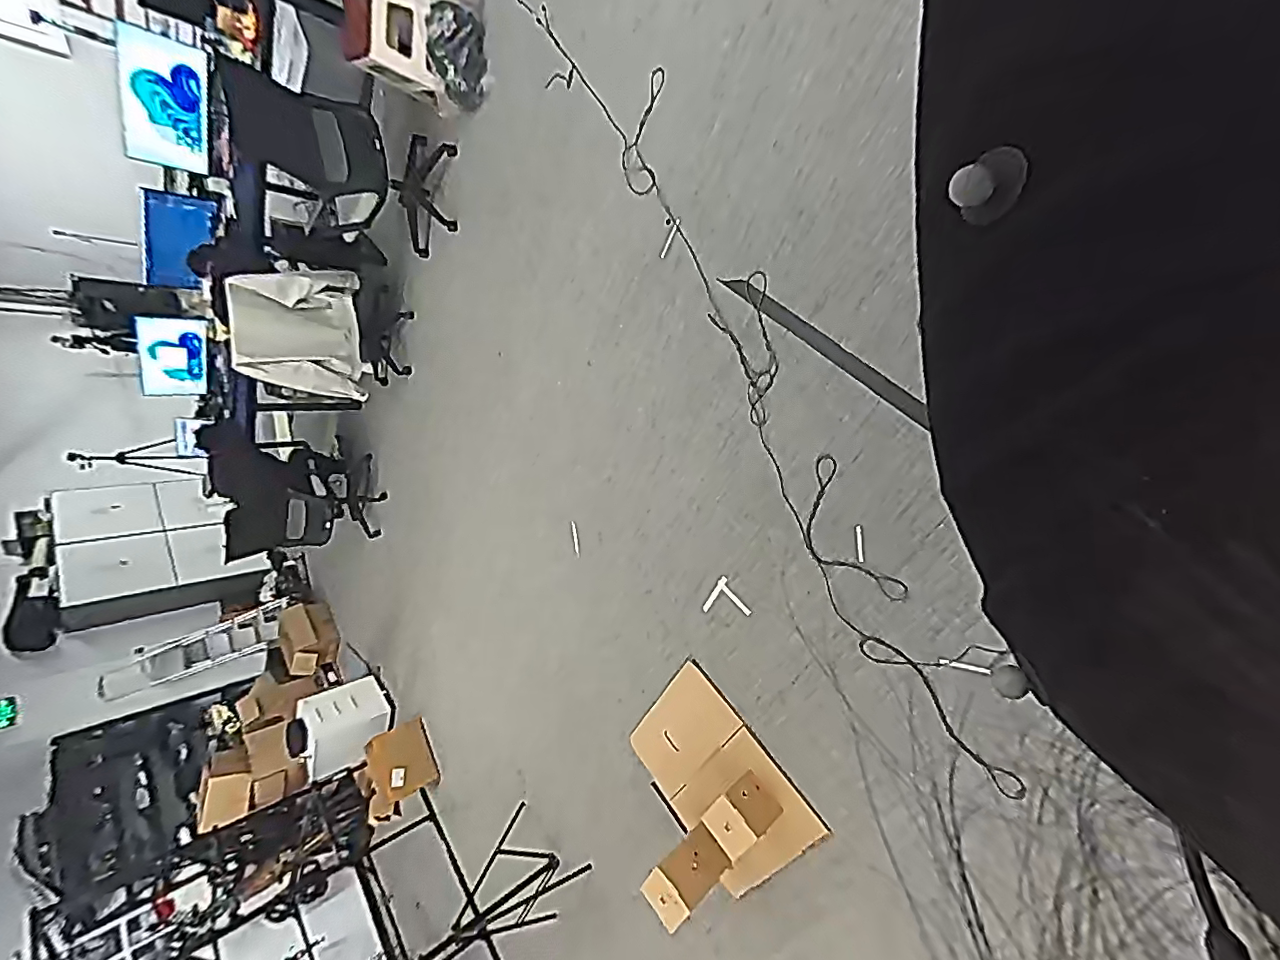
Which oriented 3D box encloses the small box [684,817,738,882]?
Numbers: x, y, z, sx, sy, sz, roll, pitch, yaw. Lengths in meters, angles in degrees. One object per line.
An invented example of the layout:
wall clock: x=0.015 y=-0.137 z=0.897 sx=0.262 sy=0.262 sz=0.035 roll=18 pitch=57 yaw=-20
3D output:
small box: x=0.252 y=1.363 z=1.992 sx=0.168 sy=0.176 sz=0.179 roll=40 pitch=122 yaw=33

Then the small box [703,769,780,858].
small box: x=0.354 y=1.137 z=1.856 sx=0.168 sy=0.176 sz=0.179 roll=45 pitch=126 yaw=30

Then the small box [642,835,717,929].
small box: x=0.140 y=1.387 z=1.874 sx=0.168 sy=0.176 sz=0.179 roll=41 pitch=123 yaw=31
